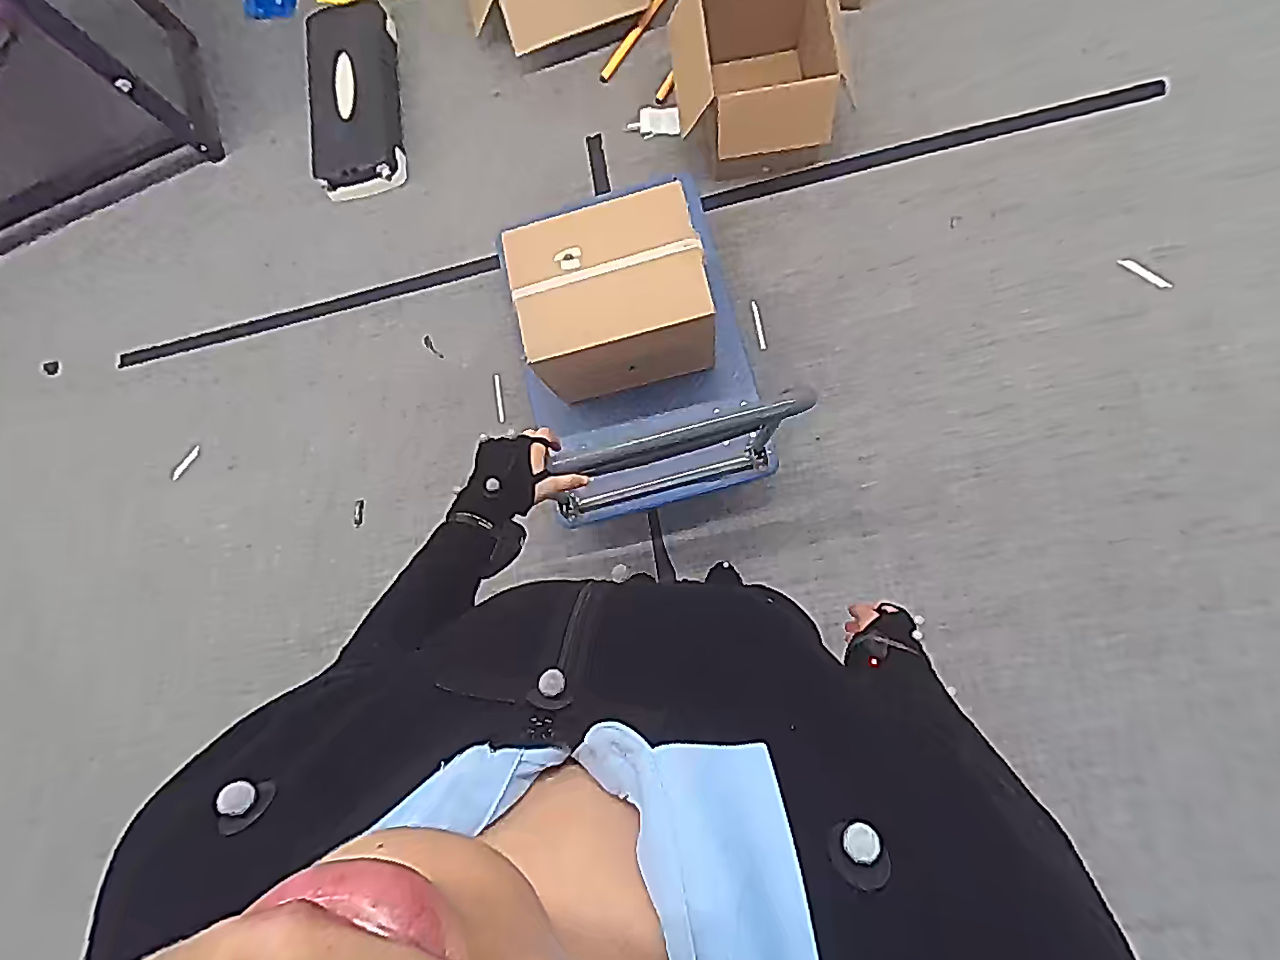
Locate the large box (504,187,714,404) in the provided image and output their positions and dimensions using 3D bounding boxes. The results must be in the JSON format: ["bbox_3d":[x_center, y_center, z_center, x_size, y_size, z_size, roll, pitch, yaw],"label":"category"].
[{"bbox_3d":[-0.056,-0.411,1.293,0.408,0.320,0.320,-14,79,6],"label":"large box"}]
